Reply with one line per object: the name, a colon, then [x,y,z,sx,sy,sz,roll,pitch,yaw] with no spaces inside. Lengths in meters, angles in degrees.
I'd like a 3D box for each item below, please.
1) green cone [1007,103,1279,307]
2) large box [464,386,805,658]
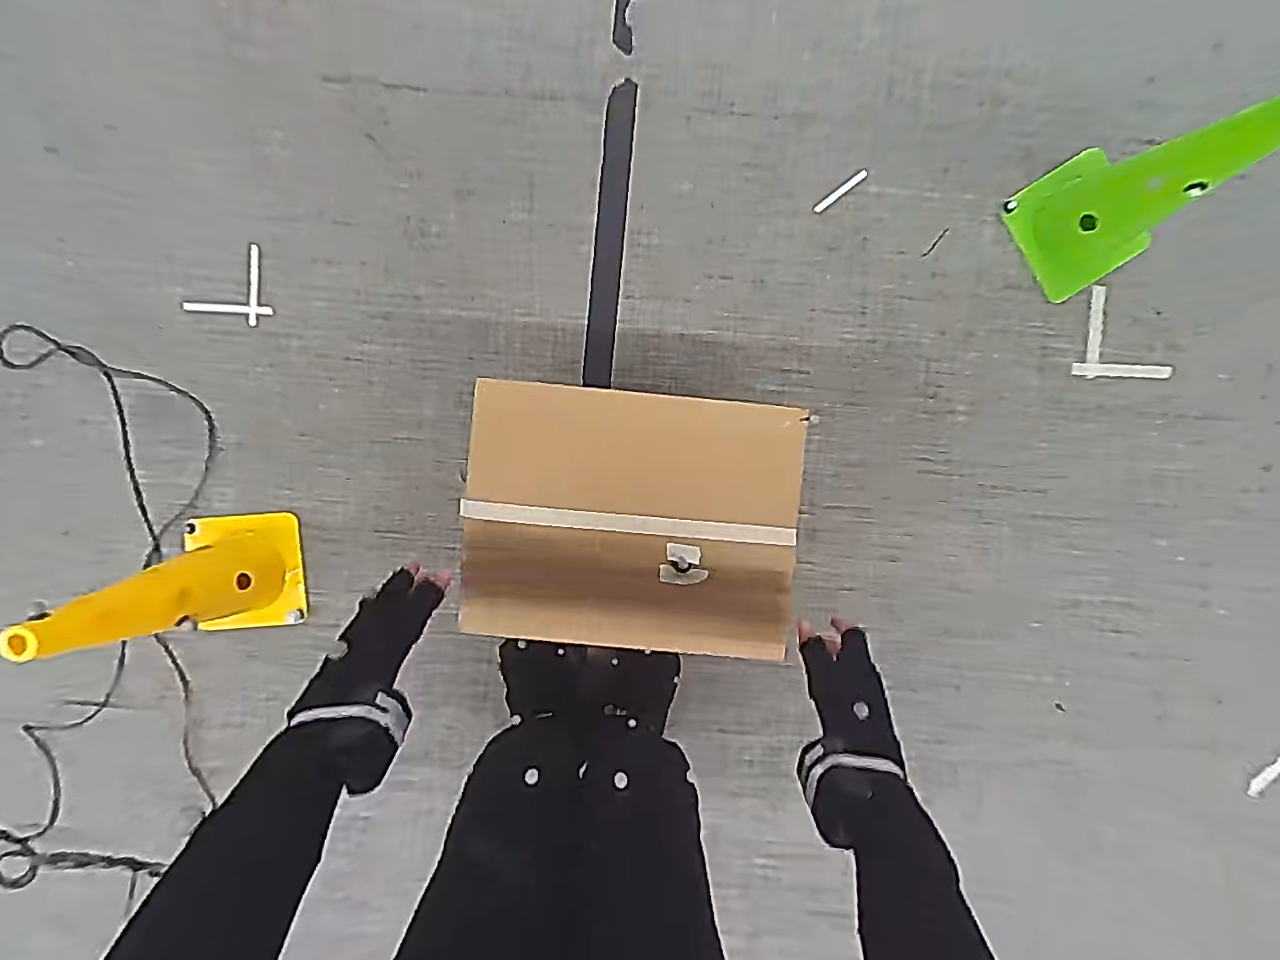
green cone: [0.753,-0.414,0.749,0.202,0.368,0.200,-33,94,0]
large box: [-0.012,0.050,0.810,0.408,0.320,0.320,5,92,-1]
